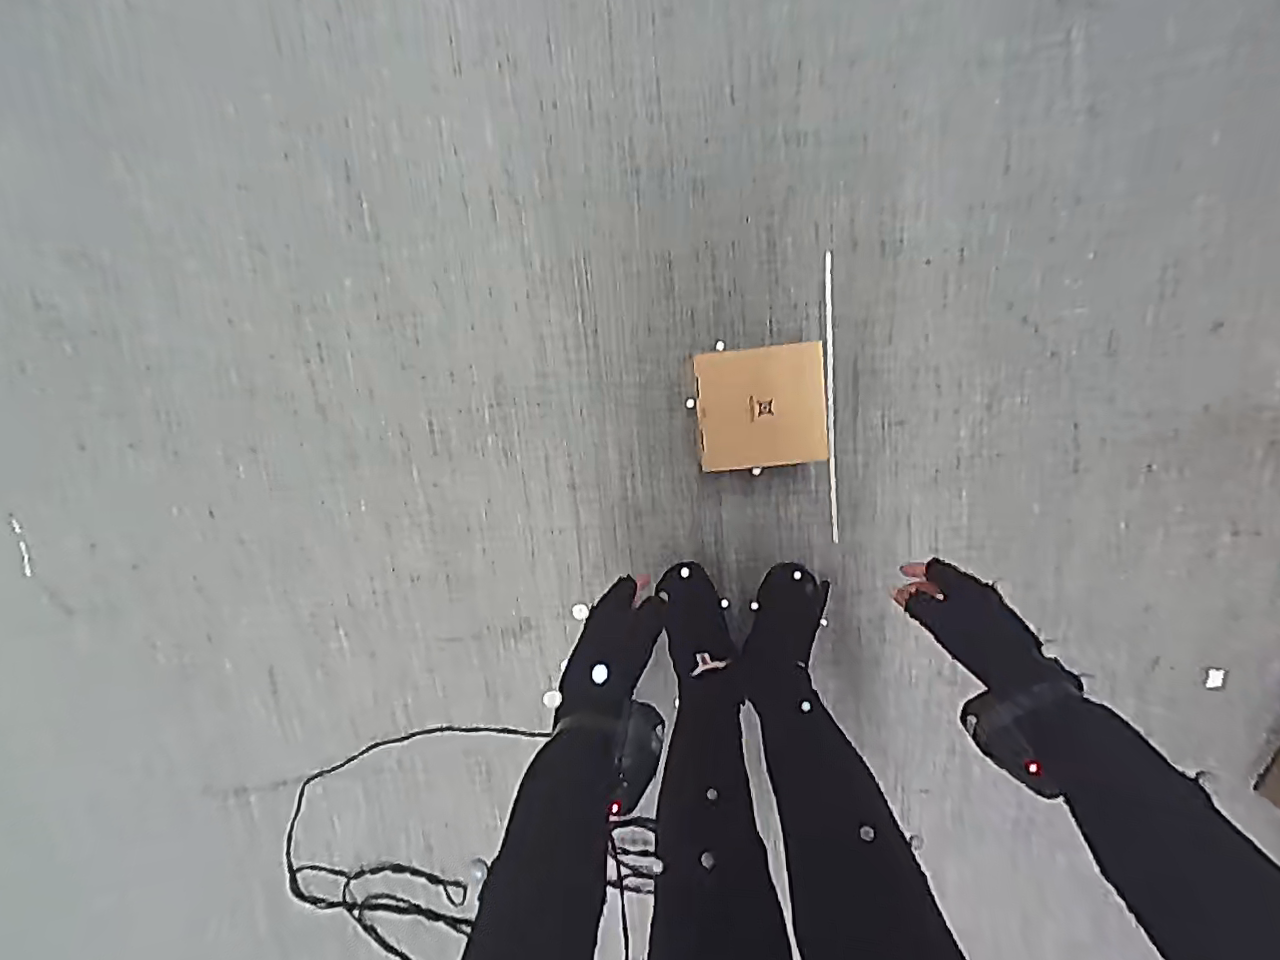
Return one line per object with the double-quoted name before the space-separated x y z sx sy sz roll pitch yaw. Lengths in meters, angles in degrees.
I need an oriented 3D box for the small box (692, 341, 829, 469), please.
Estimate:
"small box" 0.174 -0.116 0.822 0.179 0.176 0.168 -5 99 6
